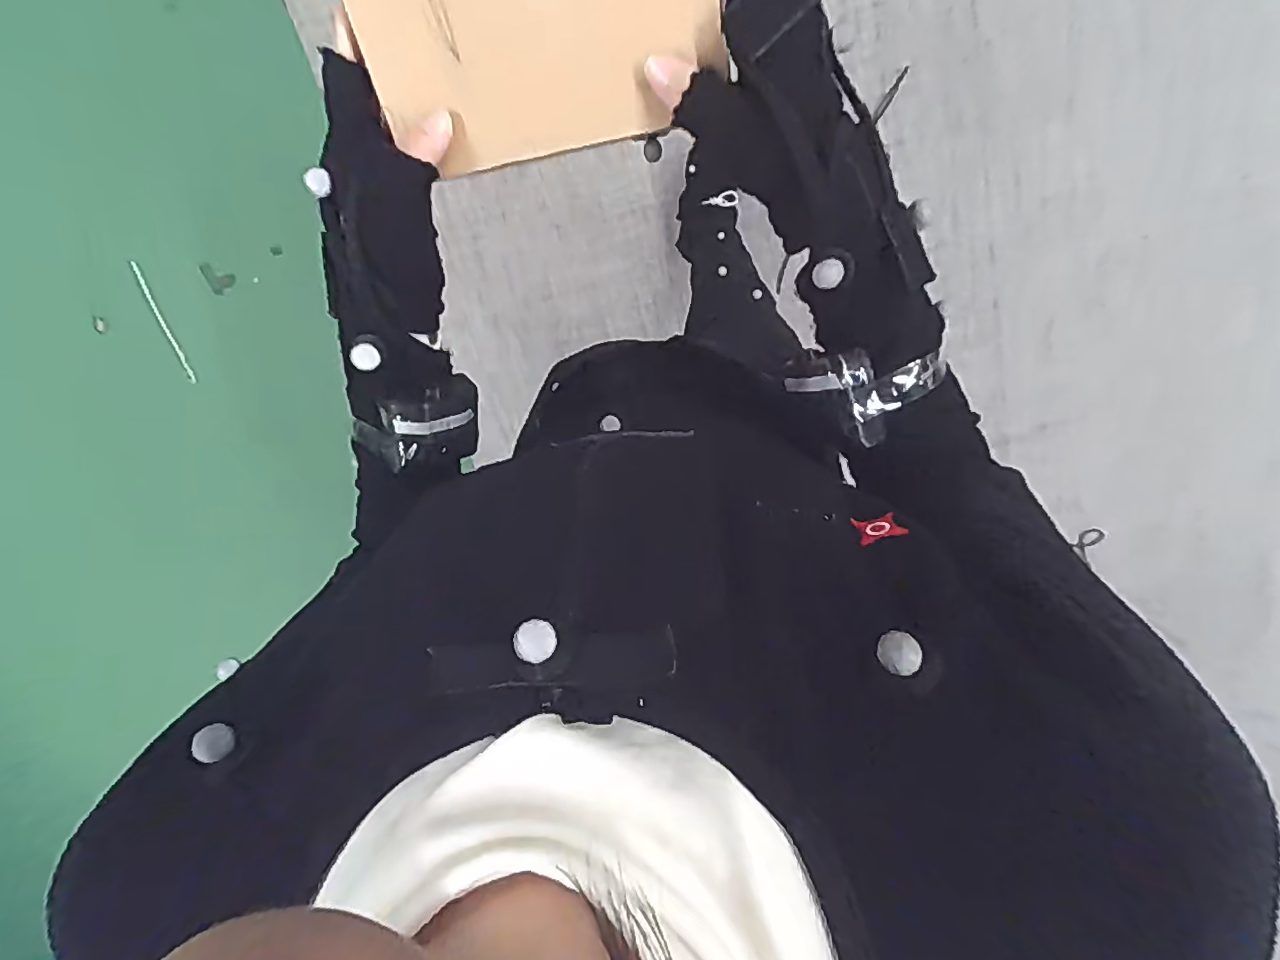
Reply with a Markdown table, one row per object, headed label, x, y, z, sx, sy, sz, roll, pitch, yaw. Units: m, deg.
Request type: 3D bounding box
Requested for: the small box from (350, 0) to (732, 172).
| label | x | y | z | sx | sy | sz | roll | pitch | yaw |
| --- | --- | --- | --- | --- | --- | --- | --- | --- | --- |
| small box | -0.051 | -0.290 | 0.307 | 0.179 | 0.176 | 0.168 | -9 | 121 | 9 |
